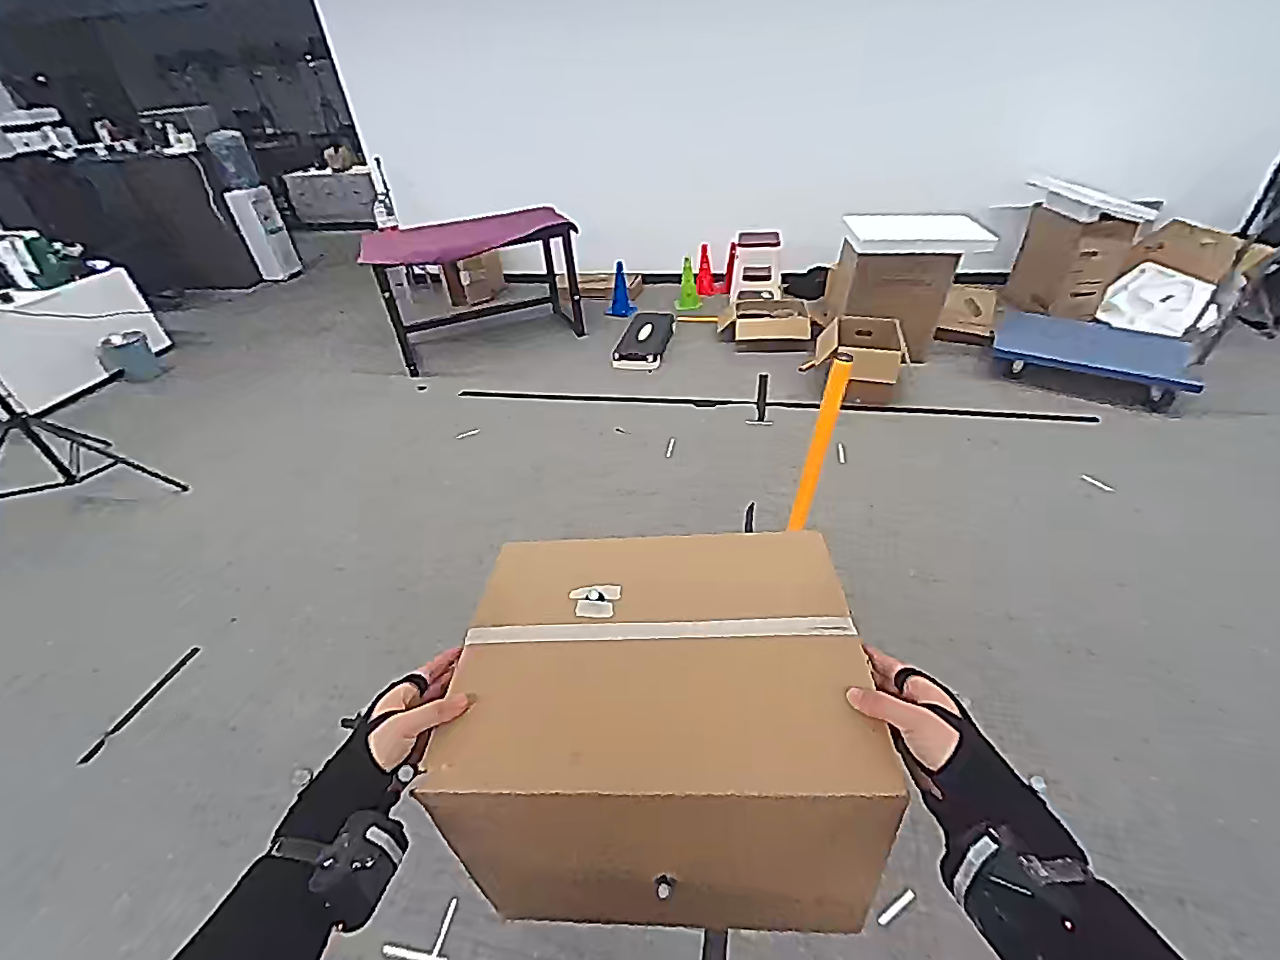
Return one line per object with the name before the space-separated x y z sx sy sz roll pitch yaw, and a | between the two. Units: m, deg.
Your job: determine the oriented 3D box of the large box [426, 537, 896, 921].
large box | 0.033 0.295 0.655 0.408 0.320 0.320 -4 34 5
